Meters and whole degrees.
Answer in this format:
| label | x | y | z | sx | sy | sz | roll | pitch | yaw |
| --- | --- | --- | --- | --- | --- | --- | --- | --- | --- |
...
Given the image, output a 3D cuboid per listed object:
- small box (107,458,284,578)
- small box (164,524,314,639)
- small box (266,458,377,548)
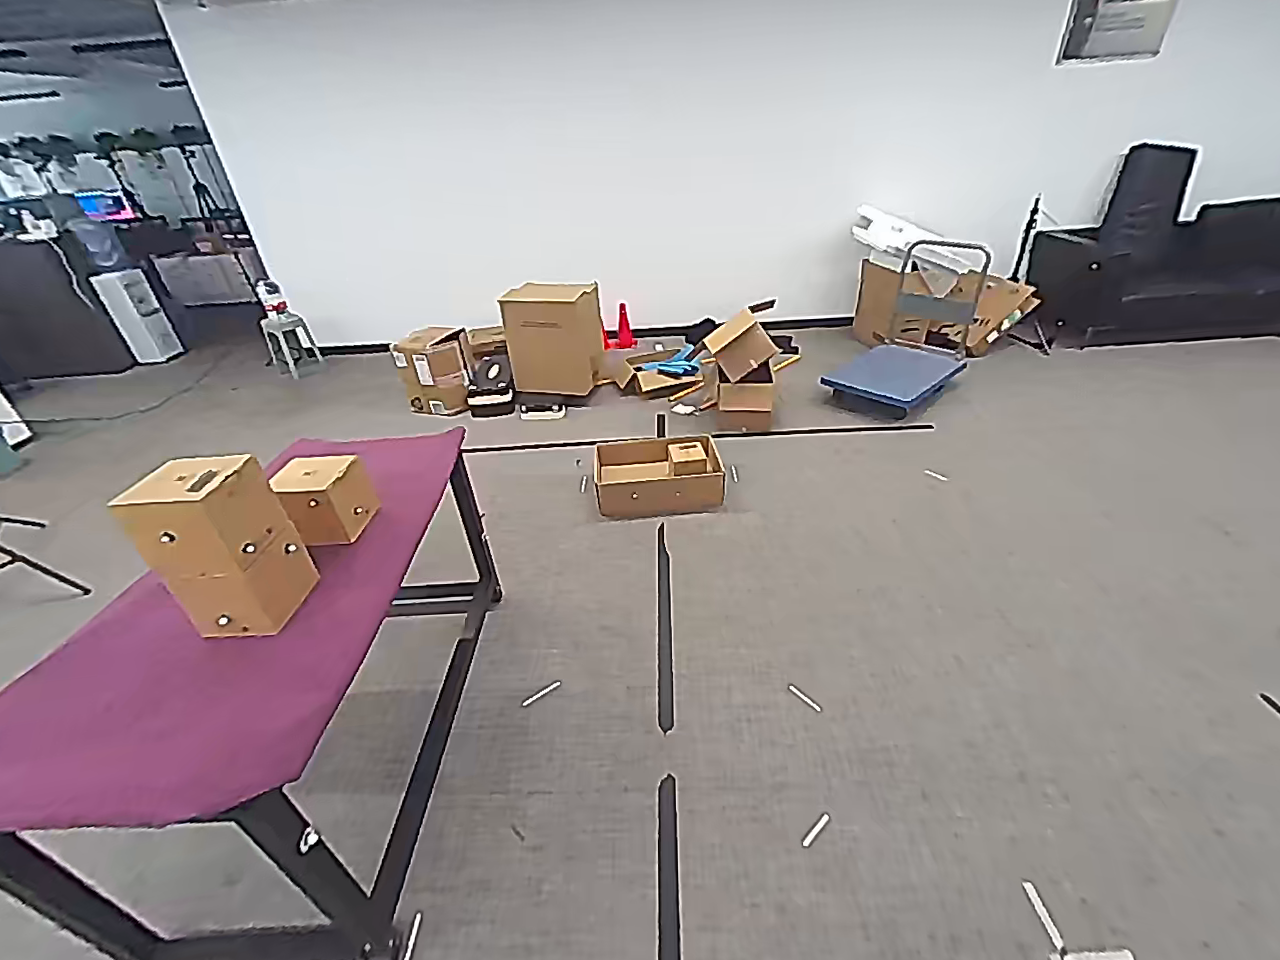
| label | x | y | z | sx | sy | sz | roll | pitch | yaw |
| --- | --- | --- | --- | --- | --- | --- | --- | --- | --- |
| small box | -0.845 | 0.074 | 1.054 | 0.179 | 0.176 | 0.168 | -4 | 32 | 2 |
| small box | -0.826 | 0.212 | 1.142 | 0.168 | 0.176 | 0.179 | -3 | 33 | 3 |
| small box | -0.810 | 0.060 | 1.379 | 0.179 | 0.176 | 0.168 | -3 | 33 | 3 |
